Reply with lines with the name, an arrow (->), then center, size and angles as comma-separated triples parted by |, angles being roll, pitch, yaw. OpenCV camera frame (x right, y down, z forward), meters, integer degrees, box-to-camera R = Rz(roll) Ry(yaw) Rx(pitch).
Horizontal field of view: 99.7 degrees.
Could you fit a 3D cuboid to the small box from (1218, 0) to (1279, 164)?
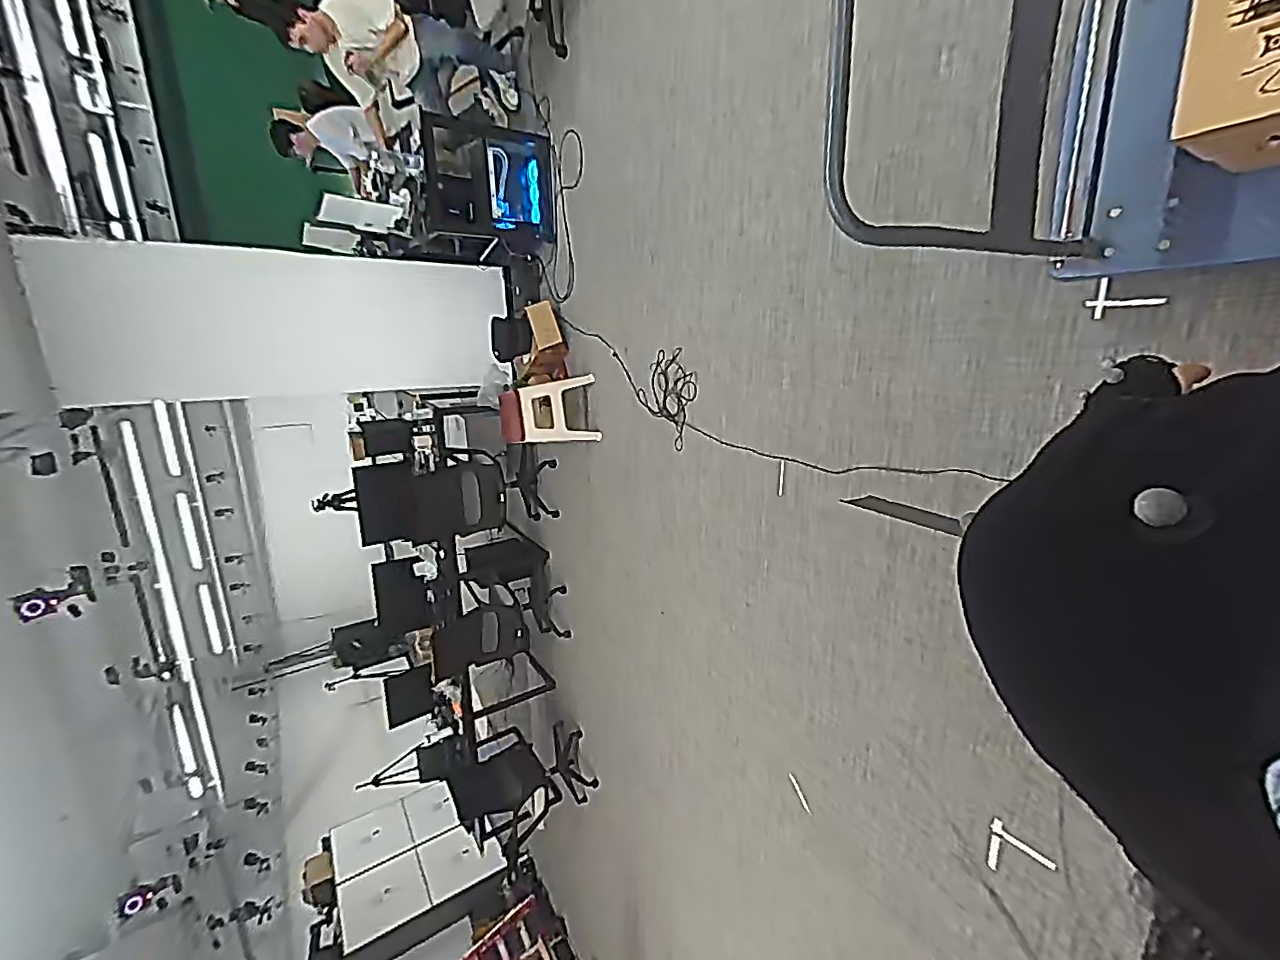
small box -> 0.951, -0.556, 0.737 | 0.168, 0.176, 0.179 | 25, 120, 53
